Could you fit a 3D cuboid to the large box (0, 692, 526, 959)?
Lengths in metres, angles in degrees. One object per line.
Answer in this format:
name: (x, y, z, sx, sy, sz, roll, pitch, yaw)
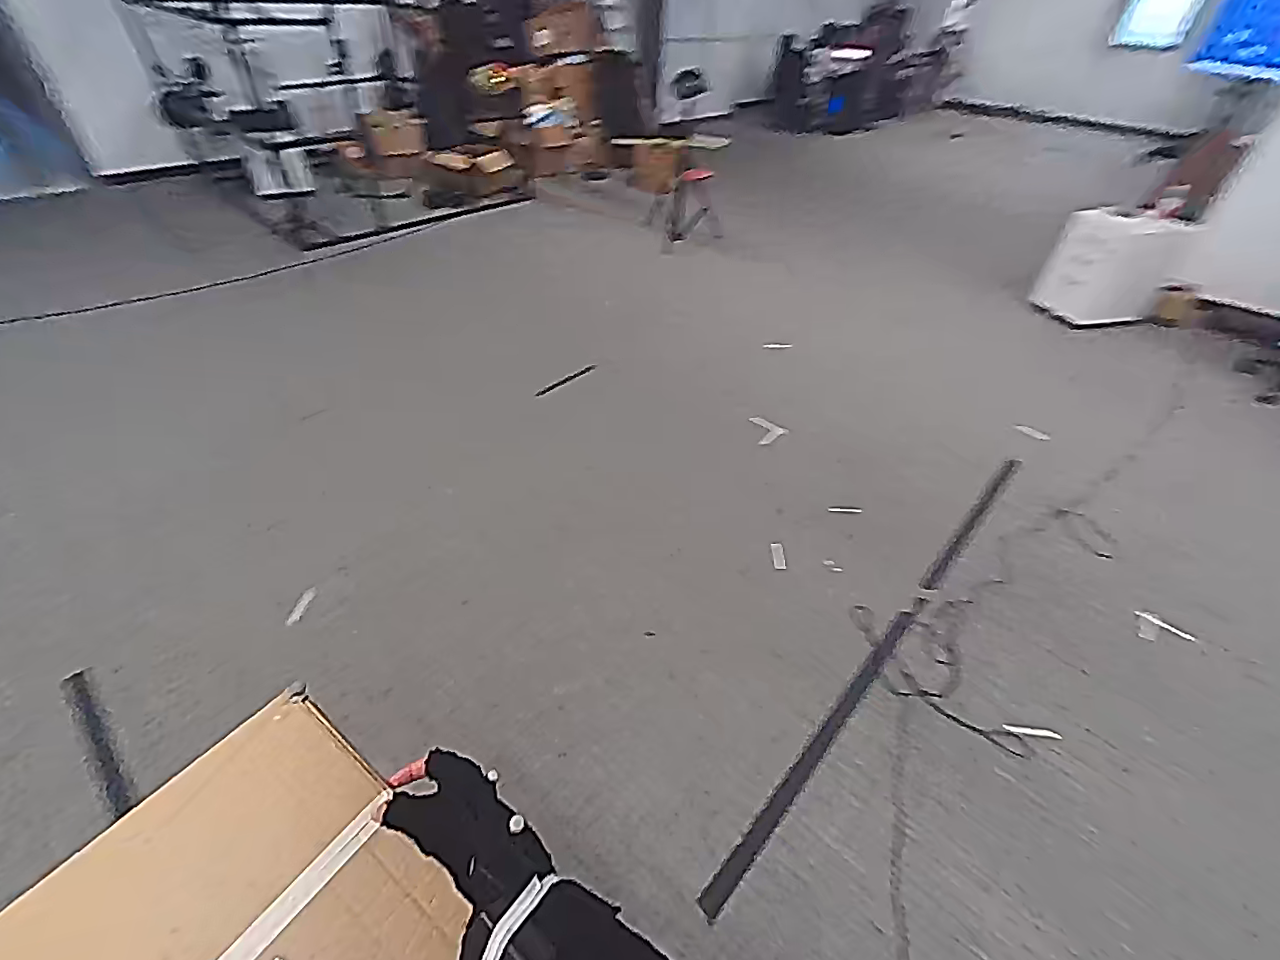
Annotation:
large box: (-0.352, 0.497, 0.487, 0.320, 0.320, 0.408, 35, 50, 19)
